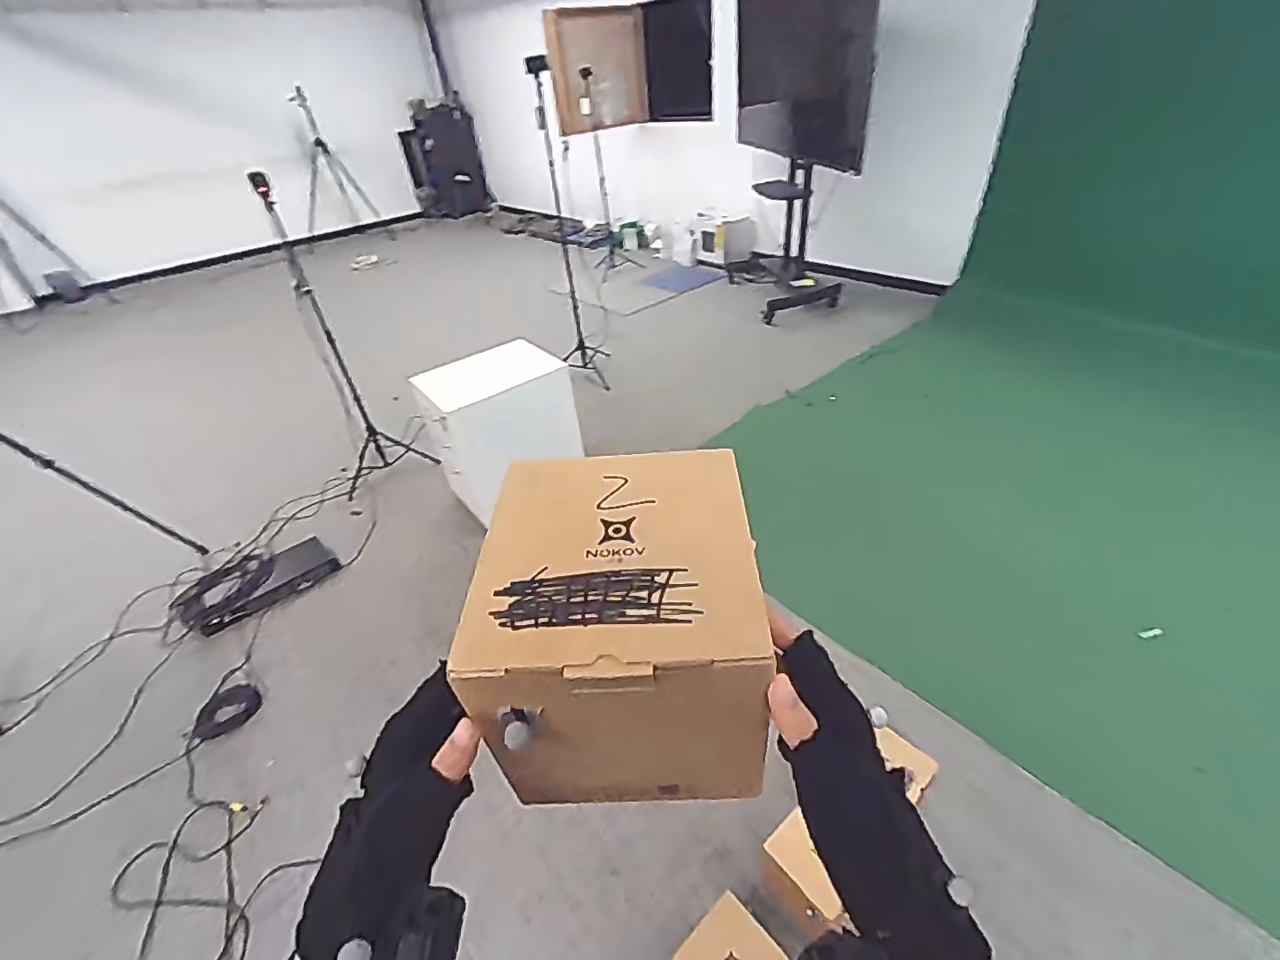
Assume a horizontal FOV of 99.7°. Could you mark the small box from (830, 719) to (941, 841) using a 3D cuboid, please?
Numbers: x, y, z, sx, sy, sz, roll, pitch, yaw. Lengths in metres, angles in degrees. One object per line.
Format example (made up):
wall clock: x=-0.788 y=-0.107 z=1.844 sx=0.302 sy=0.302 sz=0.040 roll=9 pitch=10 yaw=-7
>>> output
small box: x=0.587 y=0.733 z=1.310 sx=0.168 sy=0.176 sz=0.179 roll=-32 pitch=44 yaw=-31

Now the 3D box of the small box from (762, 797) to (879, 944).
small box: x=0.384 y=0.852 z=1.180 sx=0.168 sy=0.176 sz=0.179 roll=-29 pitch=43 yaw=-28

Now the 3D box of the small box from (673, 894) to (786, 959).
small box: x=0.182 y=0.968 z=1.046 sx=0.168 sy=0.176 sz=0.179 roll=-32 pitch=44 yaw=-29
